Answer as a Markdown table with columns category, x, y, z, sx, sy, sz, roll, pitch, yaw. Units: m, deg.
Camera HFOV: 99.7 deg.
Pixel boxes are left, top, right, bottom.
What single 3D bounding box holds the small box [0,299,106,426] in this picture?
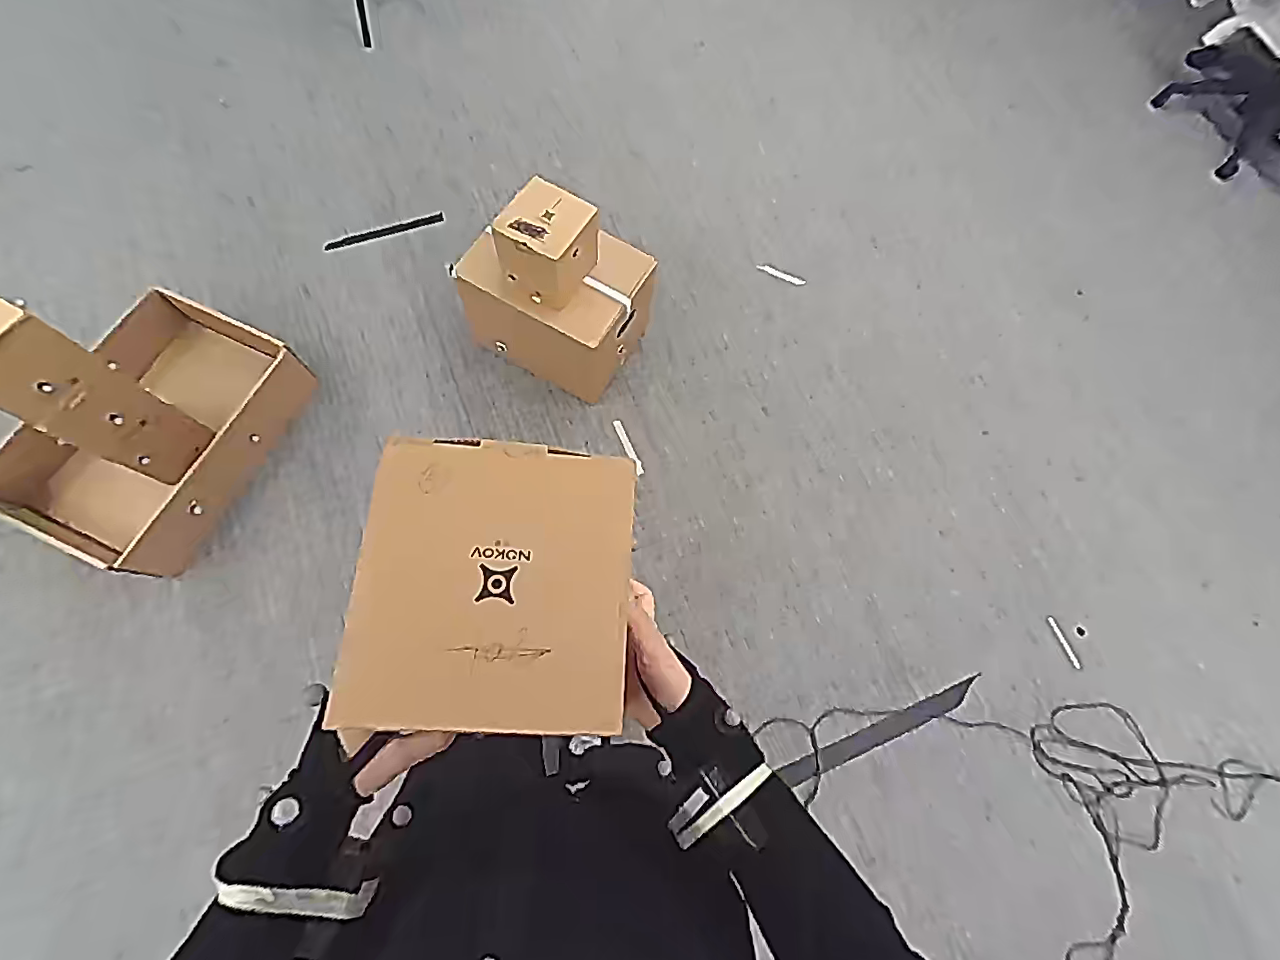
| category | x | y | z | sx | sy | sz | roll | pitch | yaw |
| --- | --- | --- | --- | --- | --- | --- | --- | --- | --- |
| small box | -1.167 | -0.225 | 0.988 | 0.179 | 0.176 | 0.168 | 27 | 70 | 5 |

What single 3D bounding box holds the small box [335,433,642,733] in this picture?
| category | x | y | z | sx | sy | sz | roll | pitch | yaw |
| --- | --- | --- | --- | --- | --- | --- | --- | --- | --- |
| small box | -0.096 | 0.084 | 0.409 | 0.168 | 0.176 | 0.179 | 6 | 71 | -7 |

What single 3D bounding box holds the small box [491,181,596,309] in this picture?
| category | x | y | z | sx | sy | sz | roll | pitch | yaw |
| --- | --- | --- | --- | --- | --- | --- | --- | --- | --- |
| small box | -0.212 | -0.530 | 1.242 | 0.168 | 0.176 | 0.179 | 29 | 71 | 4 |

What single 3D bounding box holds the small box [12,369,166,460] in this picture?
| category | x | y | z | sx | sy | sz | roll | pitch | yaw |
| --- | --- | --- | --- | --- | --- | --- | --- | --- | --- |
| small box | -1.175 | -0.162 | 1.138 | 0.179 | 0.176 | 0.168 | 28 | 70 | 5 |
